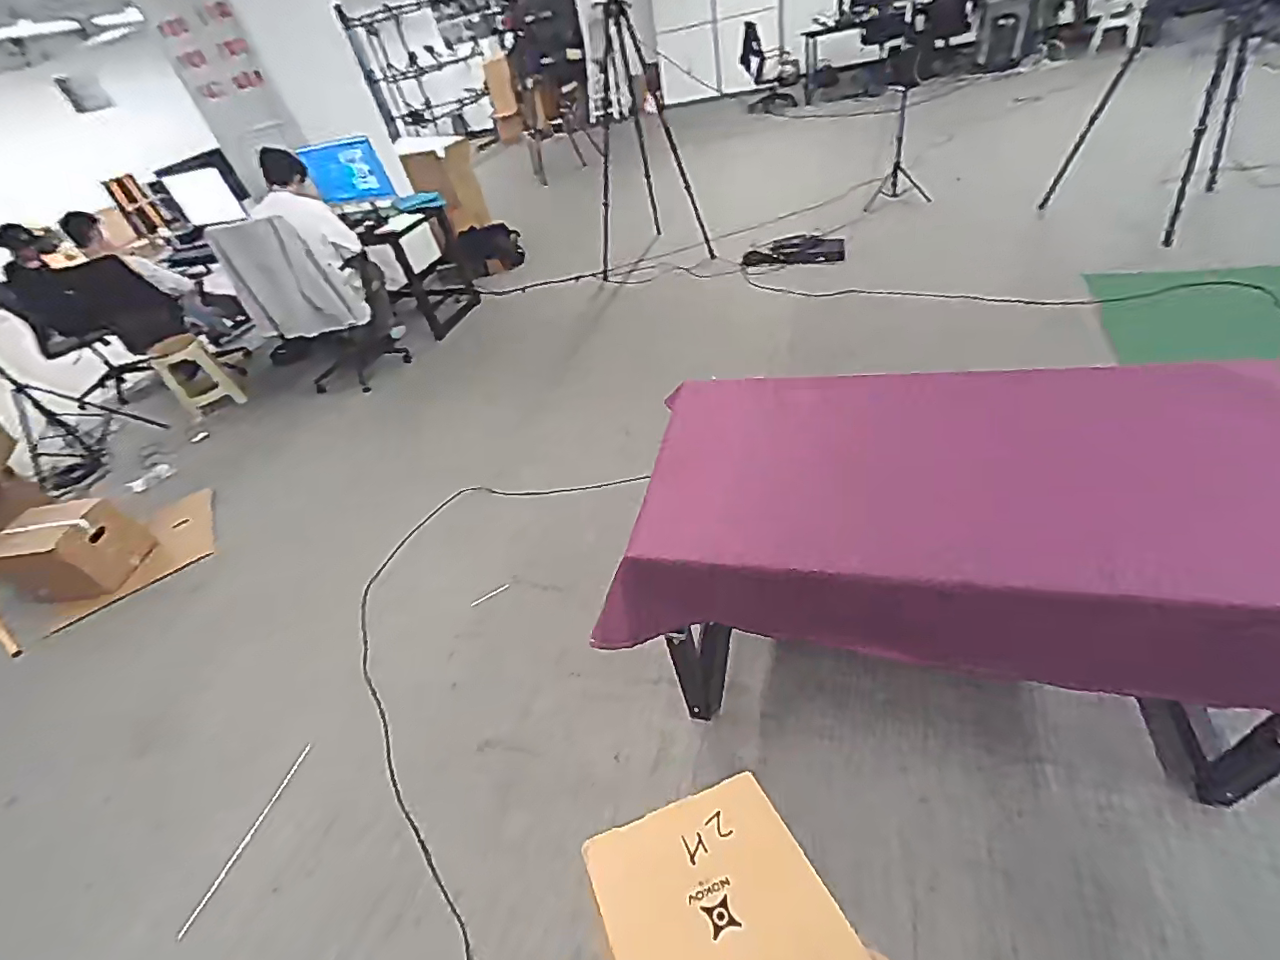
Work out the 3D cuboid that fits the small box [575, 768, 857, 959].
[{"bbox_3d":[0.054,0.393,0.448,0.168,0.176,0.179,-12,26,-18],"label":"small box"}]
